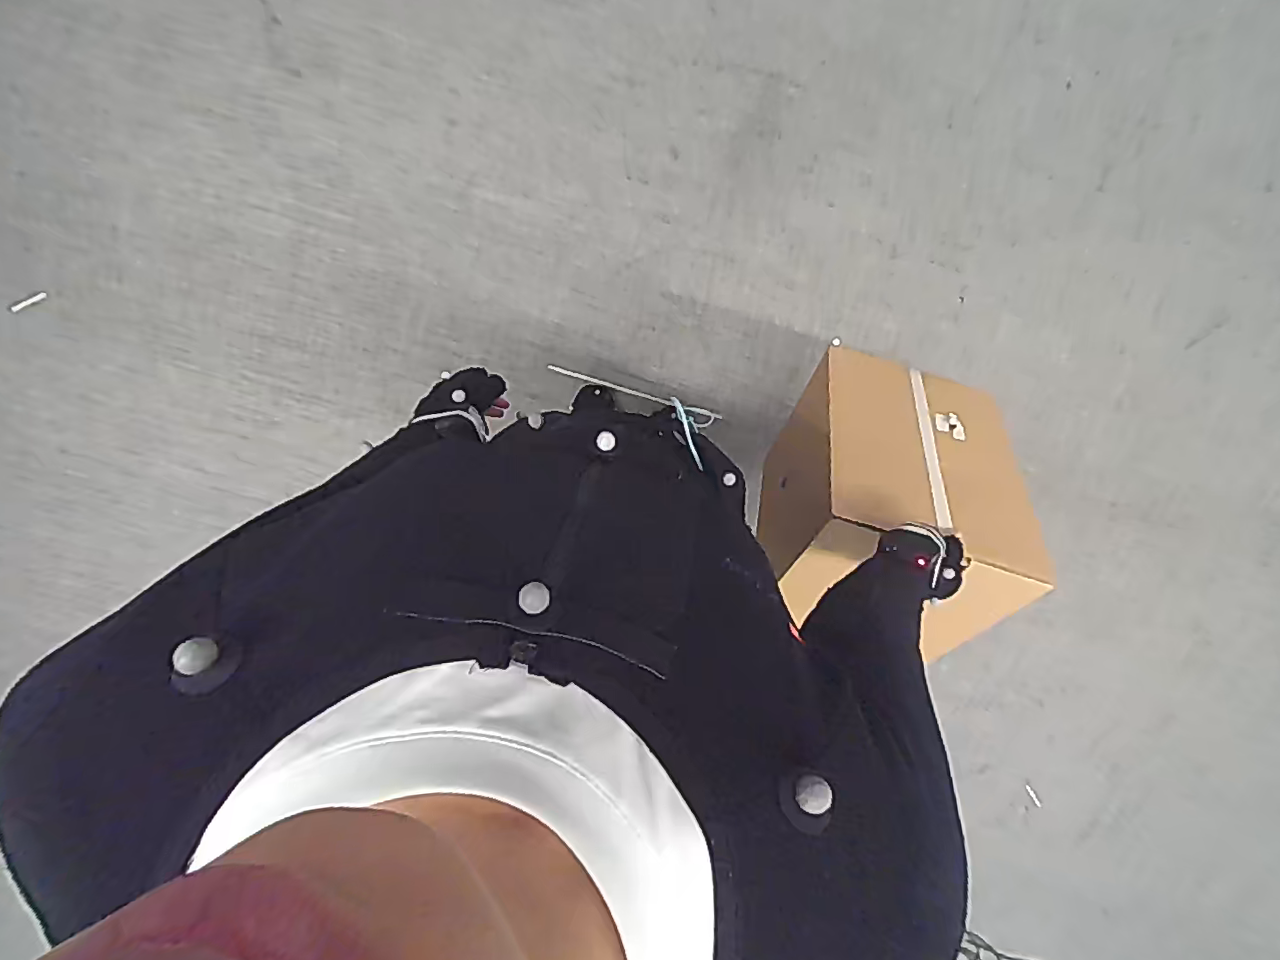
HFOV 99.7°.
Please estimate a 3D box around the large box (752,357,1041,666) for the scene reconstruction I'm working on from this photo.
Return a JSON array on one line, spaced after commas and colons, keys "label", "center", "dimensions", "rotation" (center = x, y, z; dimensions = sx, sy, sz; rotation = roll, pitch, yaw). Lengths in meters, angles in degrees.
[{"label": "large box", "center": [0.405, 0.054, 0.965], "dimensions": [0.320, 0.408, 0.320], "rotation": [18, 137, -1]}]
